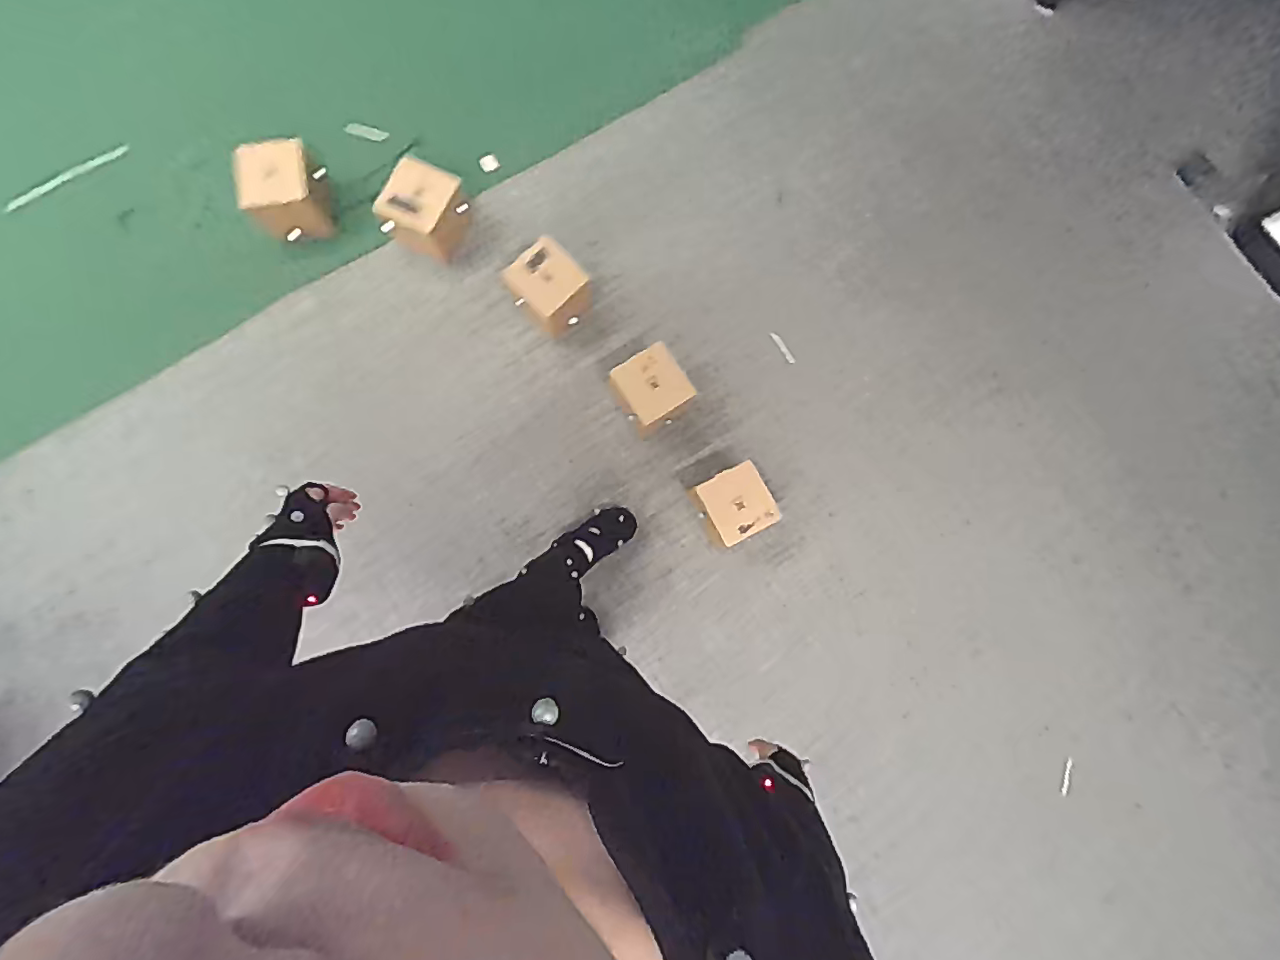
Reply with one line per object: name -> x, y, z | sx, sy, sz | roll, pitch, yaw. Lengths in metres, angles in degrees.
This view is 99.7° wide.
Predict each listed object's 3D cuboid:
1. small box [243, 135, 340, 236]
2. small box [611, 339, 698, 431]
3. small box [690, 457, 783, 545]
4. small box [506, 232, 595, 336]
small box -> -0.956, -0.808, 1.494 | 0.168, 0.176, 0.179 | -8, 83, -4
small box -> 0.036, -0.247, 1.468 | 0.168, 0.176, 0.179 | -32, 85, -7
small box -> 0.247, 0.062, 1.439 | 0.168, 0.176, 0.179 | -27, 84, -6
small box -> -0.241, -0.532, 1.491 | 0.168, 0.176, 0.179 | -44, 87, -7
